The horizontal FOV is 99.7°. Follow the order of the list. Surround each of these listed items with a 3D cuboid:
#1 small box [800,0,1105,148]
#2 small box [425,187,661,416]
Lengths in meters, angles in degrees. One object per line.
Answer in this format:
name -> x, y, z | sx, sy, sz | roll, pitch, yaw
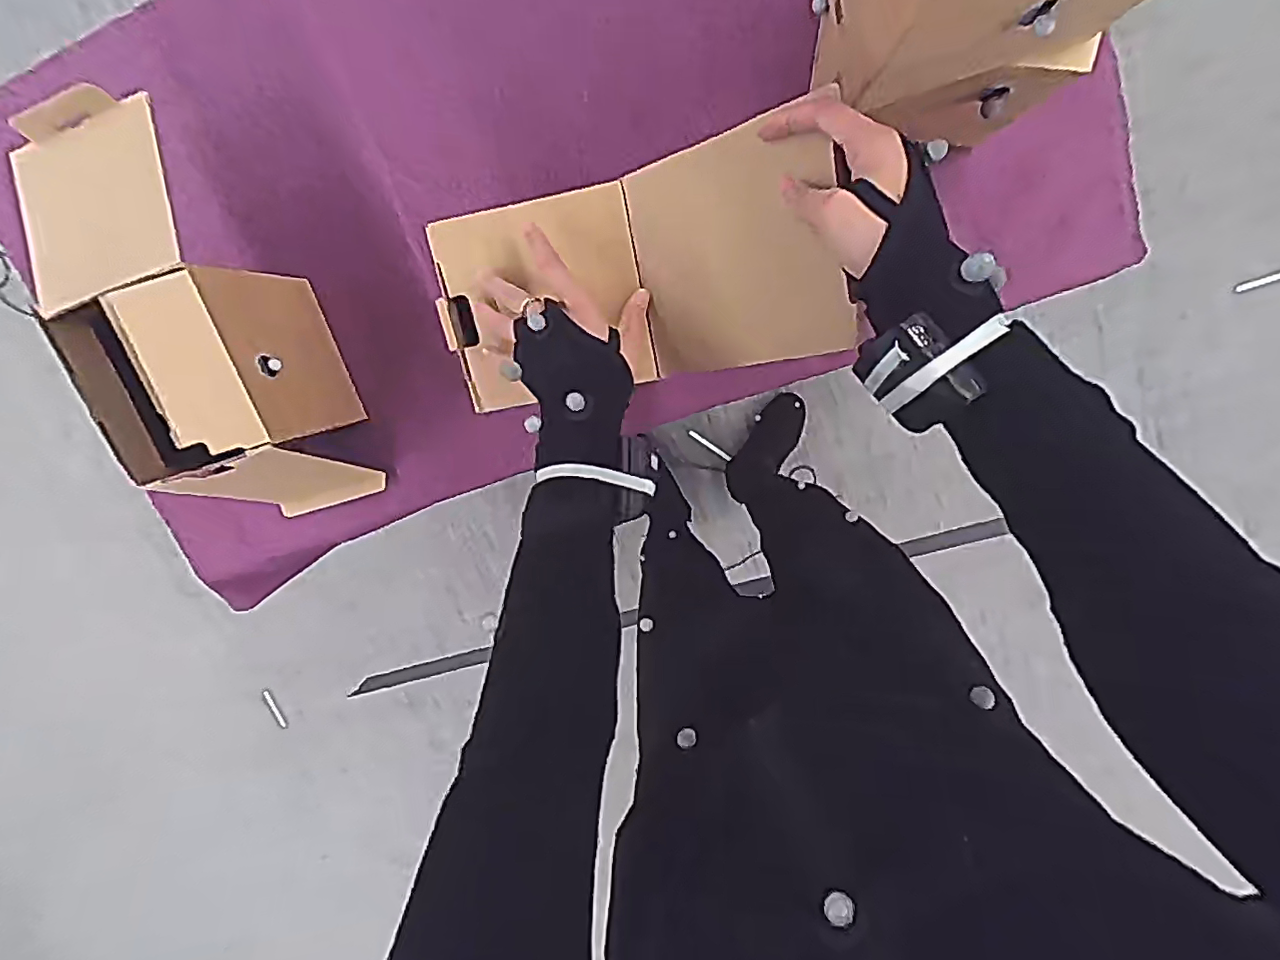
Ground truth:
small box -> 0.248, -0.395, 0.448 | 0.179, 0.176, 0.168 | 7, 106, 4
small box -> -0.079, -0.168, 0.544 | 0.179, 0.176, 0.168 | -10, 105, 7
